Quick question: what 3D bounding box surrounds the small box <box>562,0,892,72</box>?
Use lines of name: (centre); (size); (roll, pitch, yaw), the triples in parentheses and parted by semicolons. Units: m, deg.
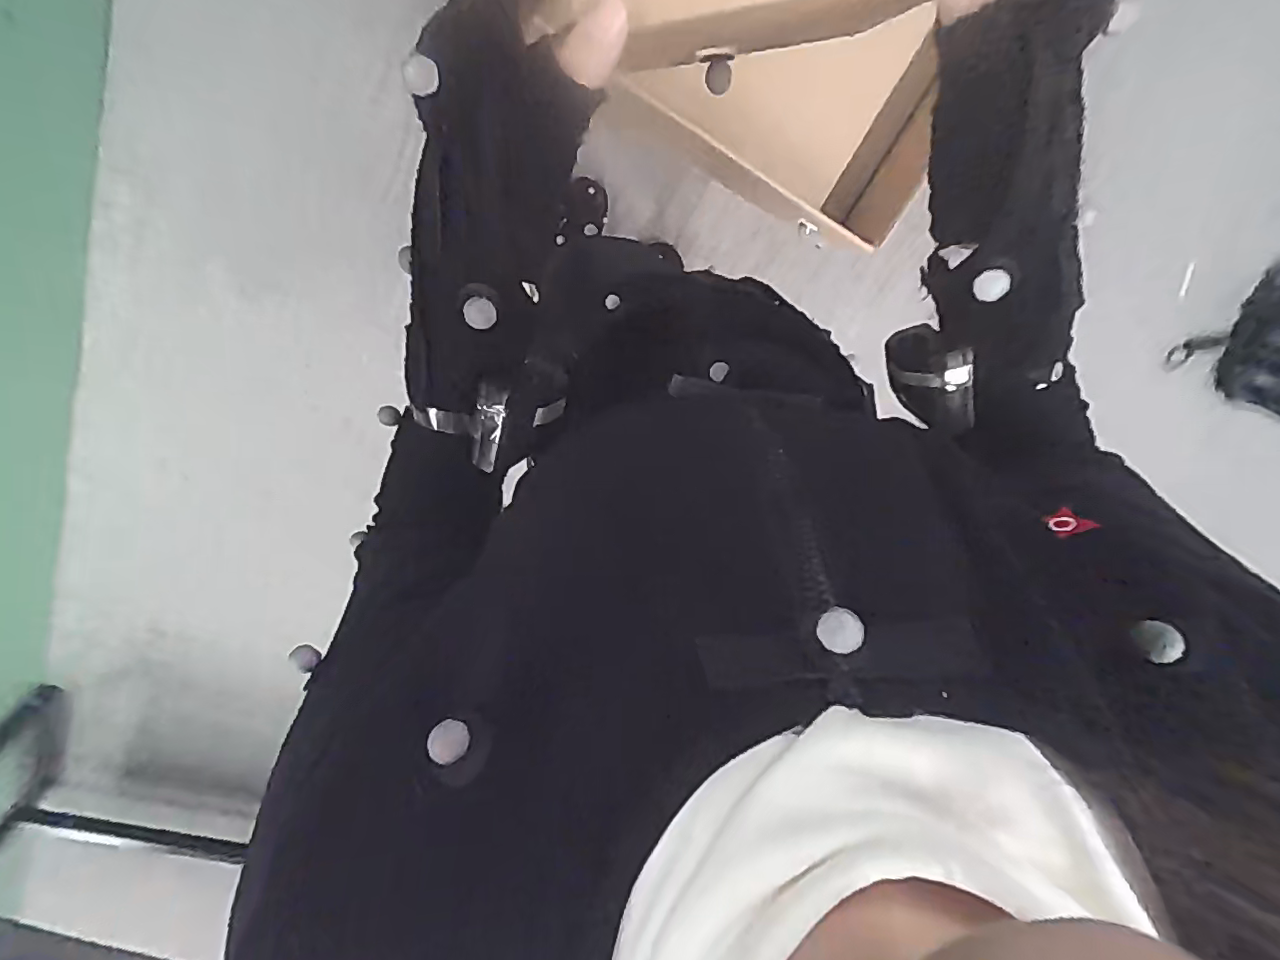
small box: (0.037, -0.296, 0.222); (0.168, 0.176, 0.179); (-8, 123, 4)
